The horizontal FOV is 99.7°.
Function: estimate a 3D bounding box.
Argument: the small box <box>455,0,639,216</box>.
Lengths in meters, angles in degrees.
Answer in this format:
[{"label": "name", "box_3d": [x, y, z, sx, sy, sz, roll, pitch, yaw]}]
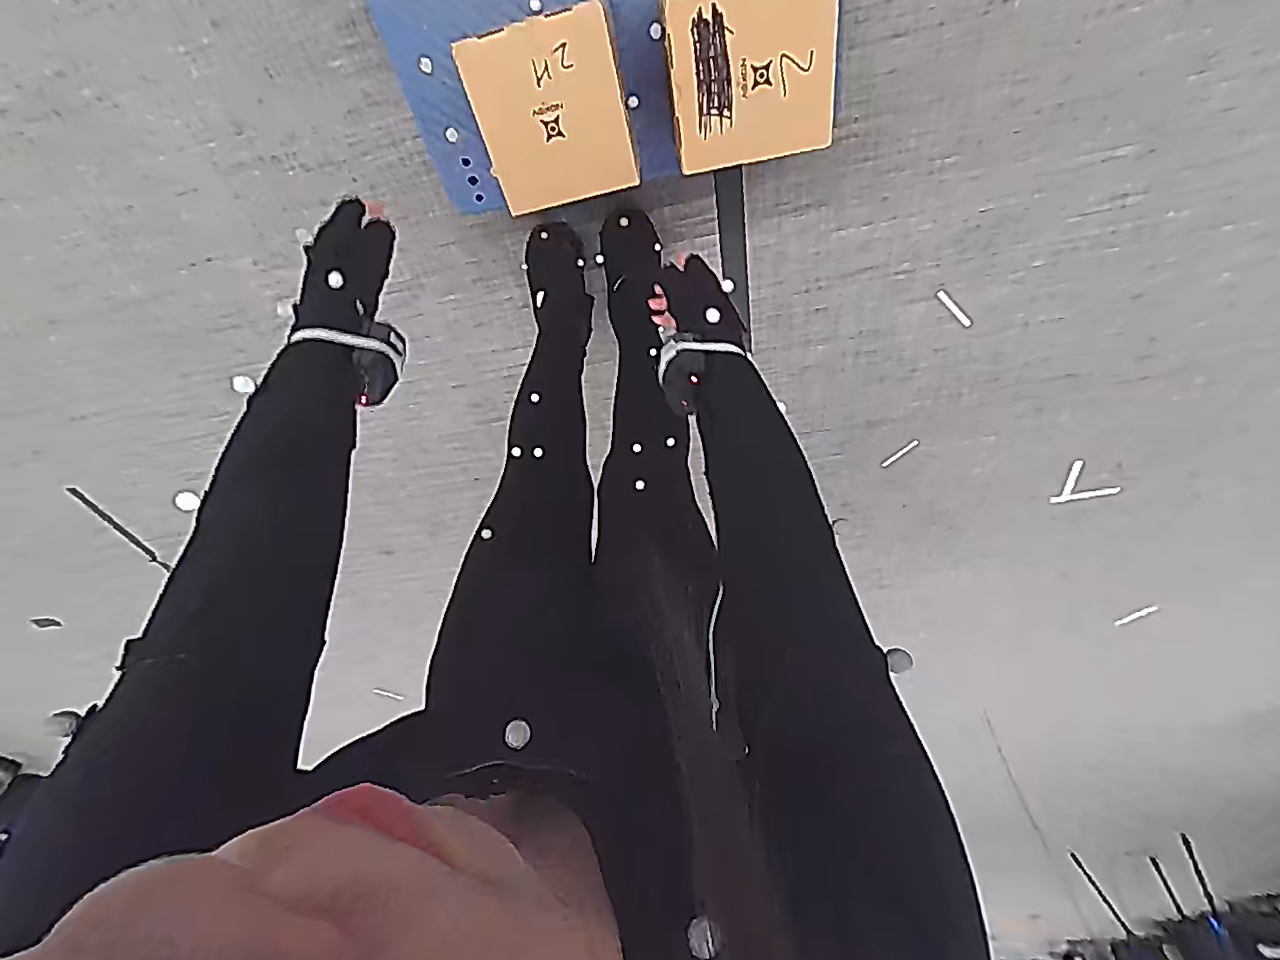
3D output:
[{"label": "small box", "box_3d": [-0.097, -0.458, 0.667, 0.168, 0.176, 0.179, -9, 132, 9]}]
